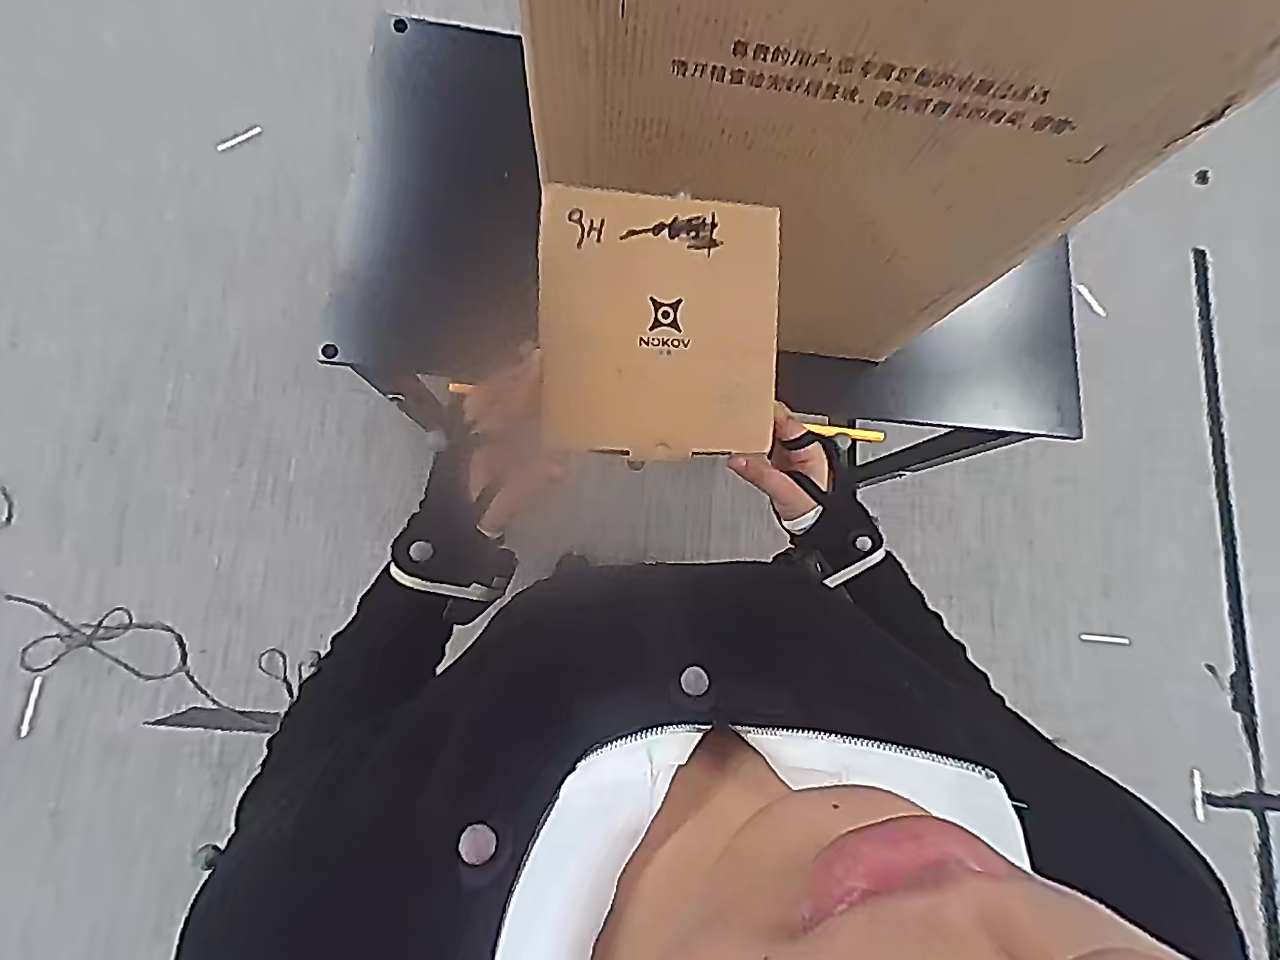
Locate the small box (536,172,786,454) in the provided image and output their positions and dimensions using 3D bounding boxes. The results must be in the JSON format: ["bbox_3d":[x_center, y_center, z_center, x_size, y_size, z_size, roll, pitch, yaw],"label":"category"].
[{"bbox_3d":[0.001,-0.116,0.436,0.168,0.176,0.179,-1,98,-11],"label":"small box"}]
